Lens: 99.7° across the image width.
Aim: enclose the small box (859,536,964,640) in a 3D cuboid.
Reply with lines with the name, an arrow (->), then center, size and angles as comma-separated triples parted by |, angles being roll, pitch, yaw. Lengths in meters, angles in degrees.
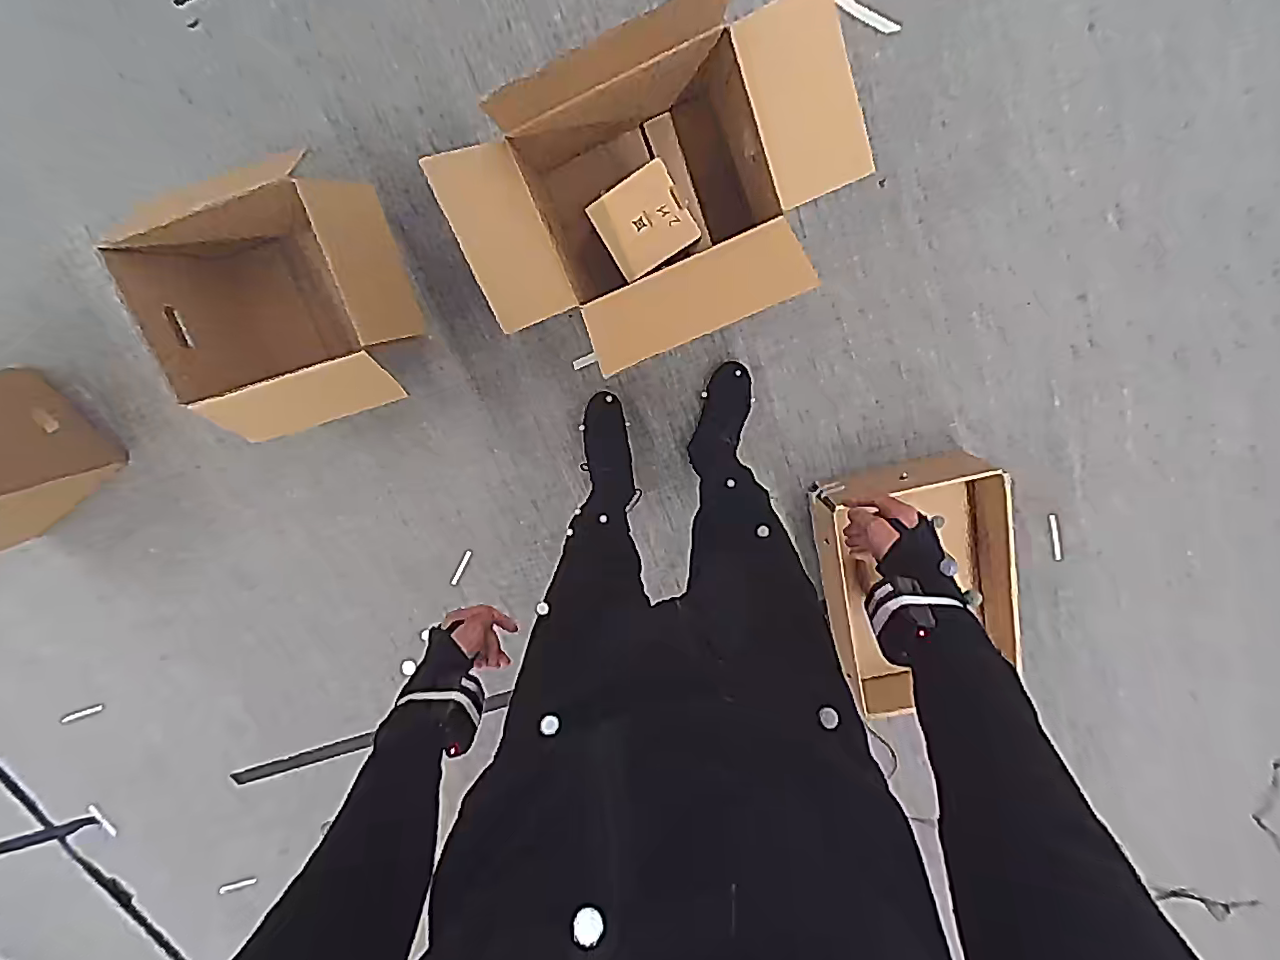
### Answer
small box -> 0.665, 0.263, 1.345 | 0.179, 0.176, 0.168 | -18, 108, 7
